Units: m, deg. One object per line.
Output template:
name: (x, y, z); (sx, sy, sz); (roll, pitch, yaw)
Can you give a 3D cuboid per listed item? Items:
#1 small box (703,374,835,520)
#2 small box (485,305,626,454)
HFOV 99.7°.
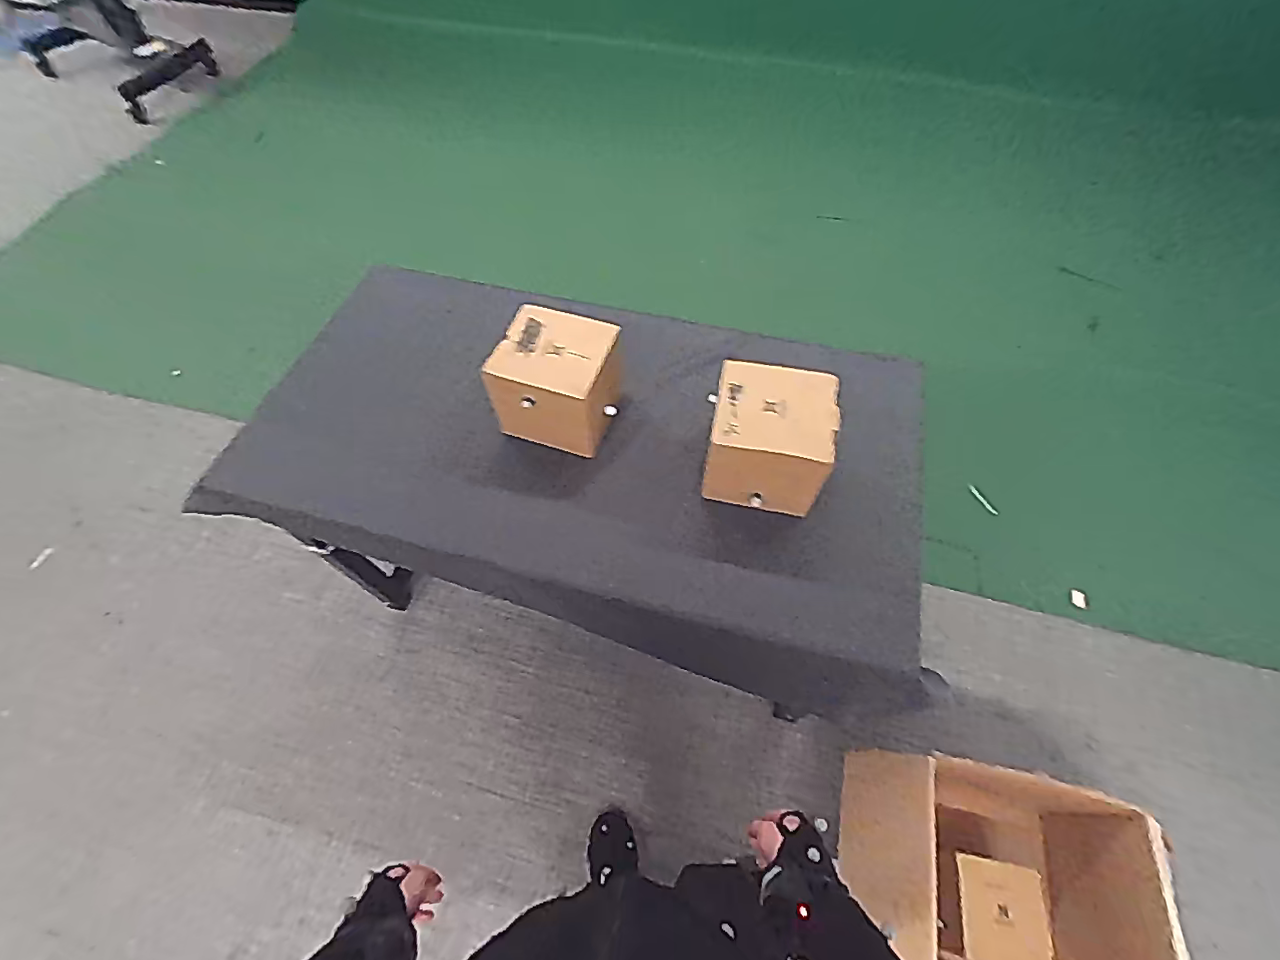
small box: (0.207, -0.048, 0.890); (0.179, 0.176, 0.168); (9, 61, 6)
small box: (-0.135, -0.168, 0.940); (0.179, 0.176, 0.168); (19, 63, 12)
